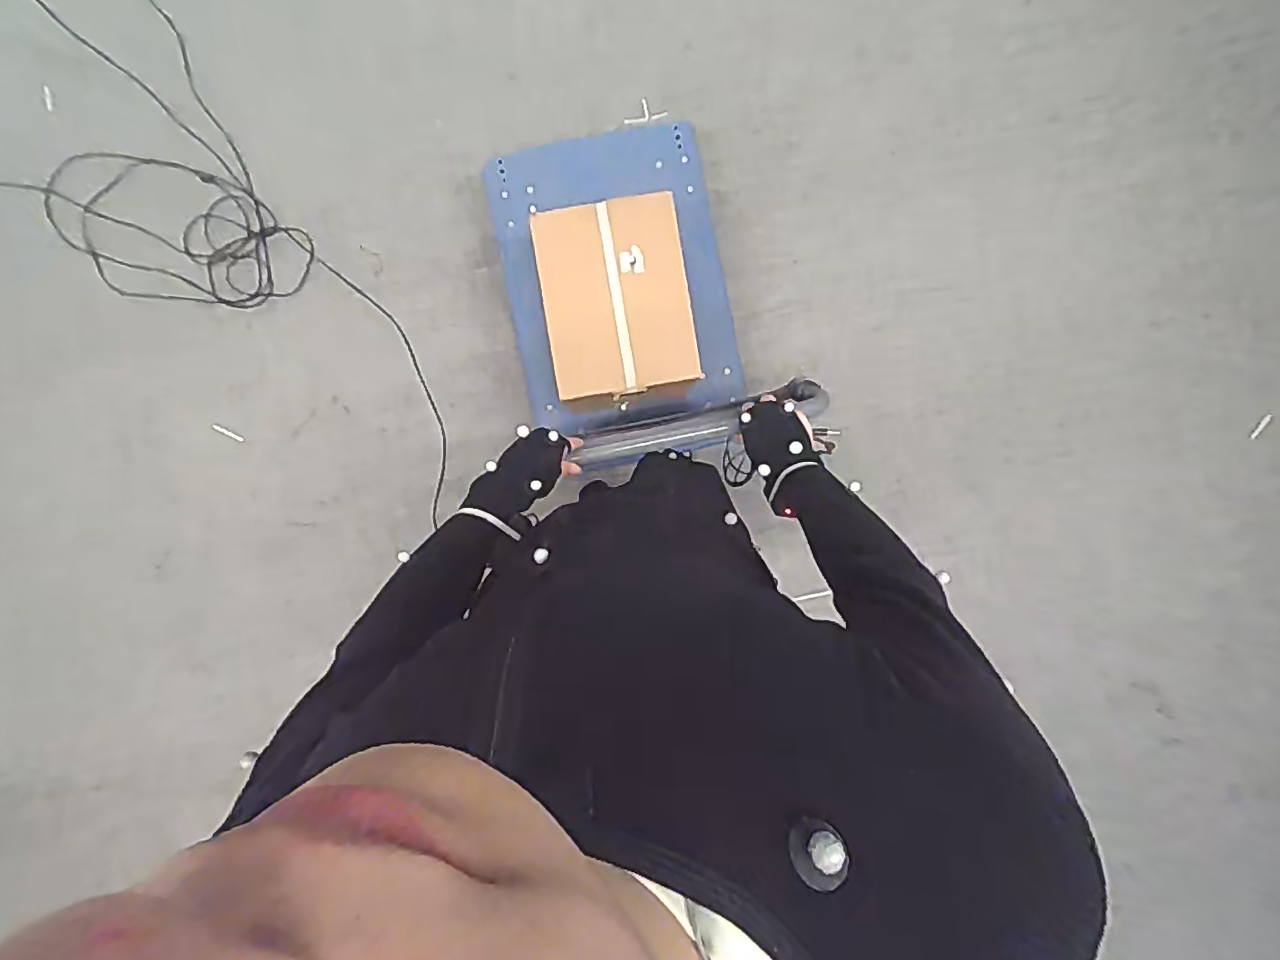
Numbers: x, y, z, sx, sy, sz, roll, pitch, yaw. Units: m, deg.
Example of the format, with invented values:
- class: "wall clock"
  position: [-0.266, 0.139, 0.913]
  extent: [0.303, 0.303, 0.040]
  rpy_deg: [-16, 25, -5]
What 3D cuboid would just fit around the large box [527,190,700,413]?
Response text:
- class: "large box"
  position: [-0.057, -0.396, 1.292]
  extent: [0.320, 0.320, 0.408]
  rpy_deg: [-9, 91, -2]
